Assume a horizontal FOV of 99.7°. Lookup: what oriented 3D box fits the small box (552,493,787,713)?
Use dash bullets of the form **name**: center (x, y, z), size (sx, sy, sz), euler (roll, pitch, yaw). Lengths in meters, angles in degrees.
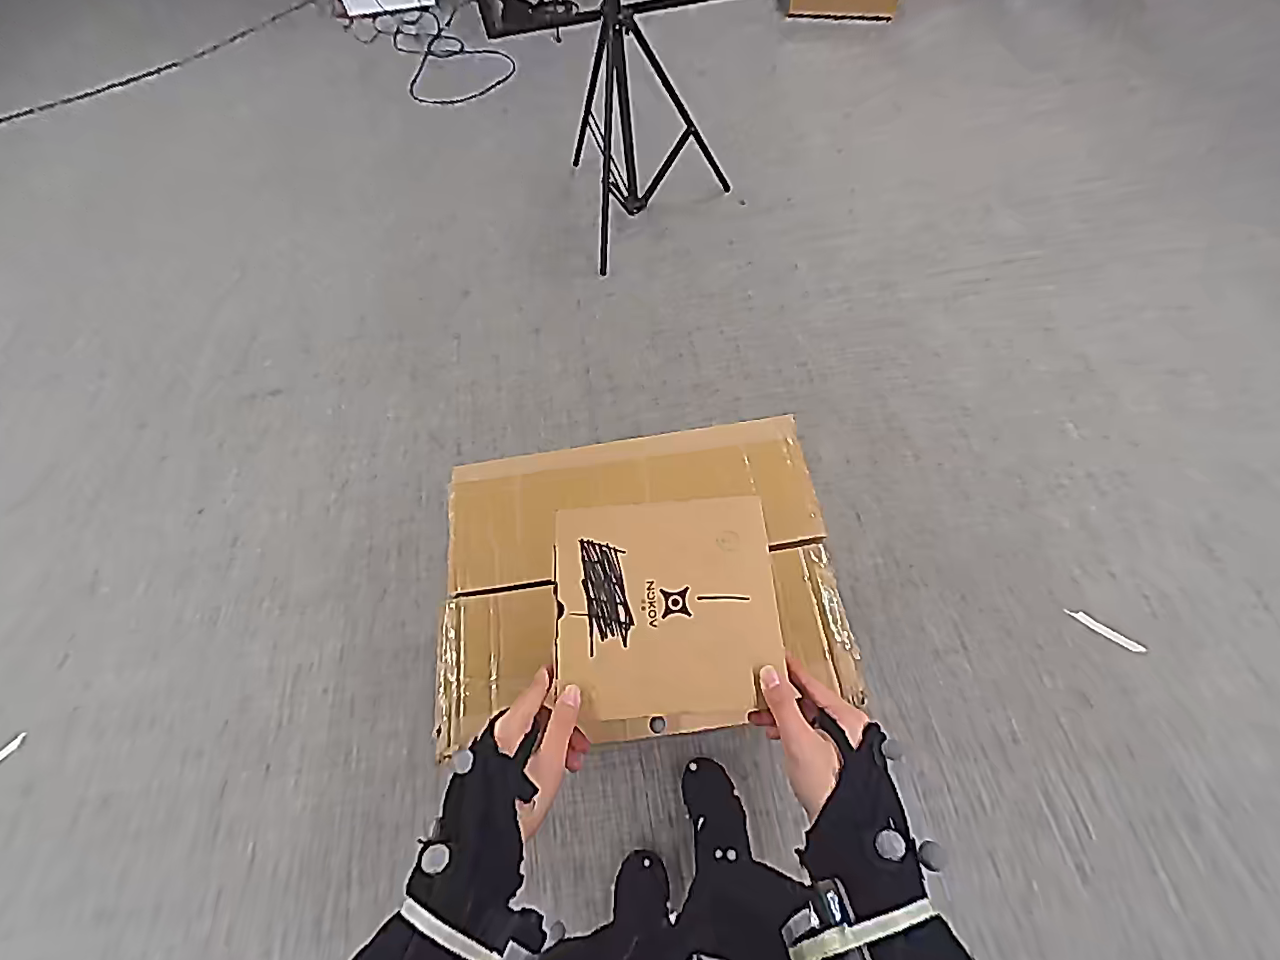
- **small box**: center (0.021, 0.121, 0.499), size (0.179, 0.176, 0.168), euler (-4, 69, 0)
